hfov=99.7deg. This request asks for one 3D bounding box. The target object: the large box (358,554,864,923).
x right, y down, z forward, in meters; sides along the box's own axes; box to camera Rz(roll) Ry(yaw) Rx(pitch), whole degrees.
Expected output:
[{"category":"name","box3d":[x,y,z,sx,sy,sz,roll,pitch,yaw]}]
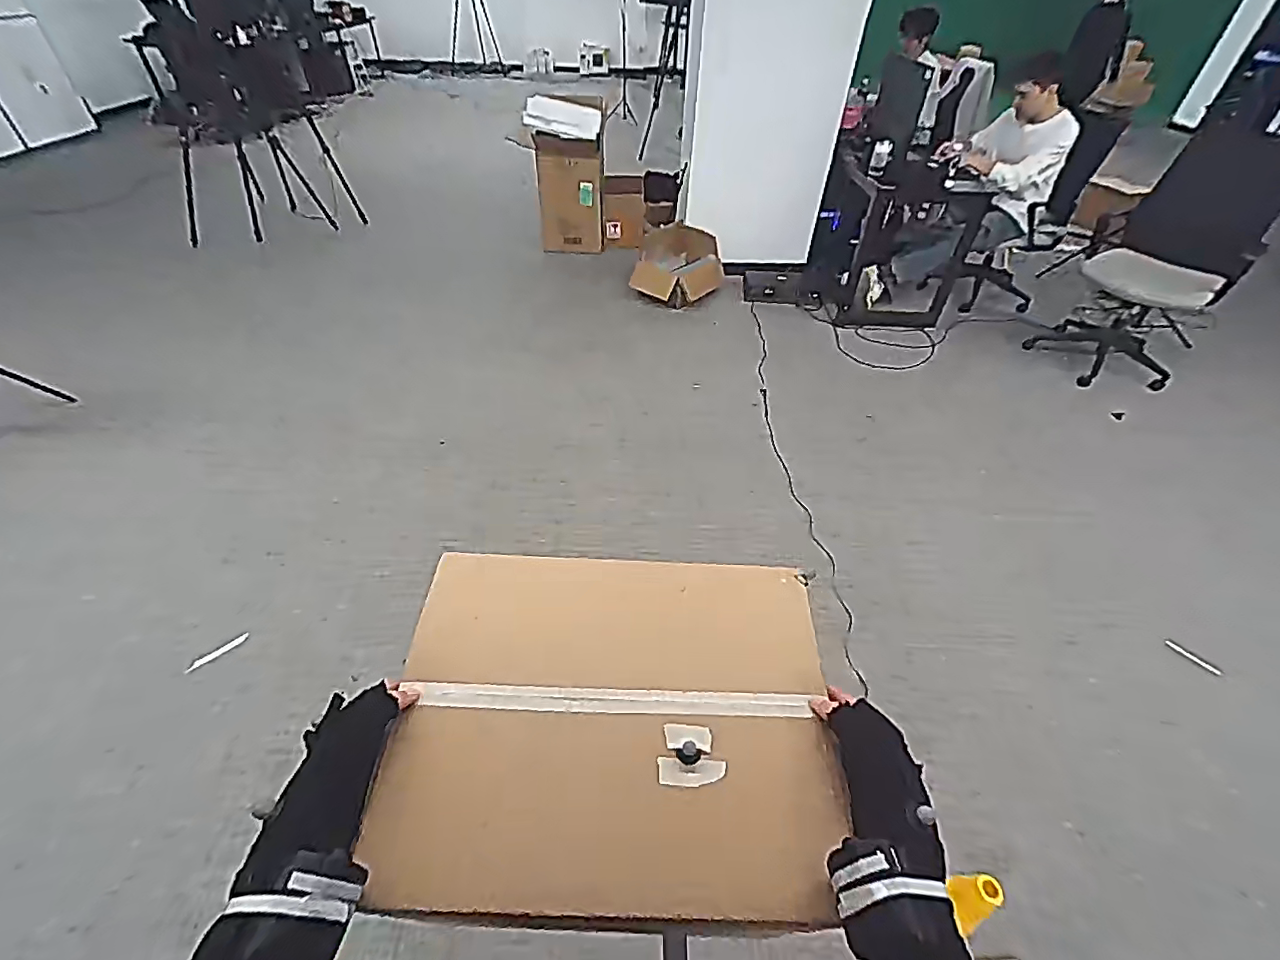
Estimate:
[{"category":"large box","box3d":[-0.027,0.305,0.626,0.408,0.320,0.320,3,49,-1]}]
